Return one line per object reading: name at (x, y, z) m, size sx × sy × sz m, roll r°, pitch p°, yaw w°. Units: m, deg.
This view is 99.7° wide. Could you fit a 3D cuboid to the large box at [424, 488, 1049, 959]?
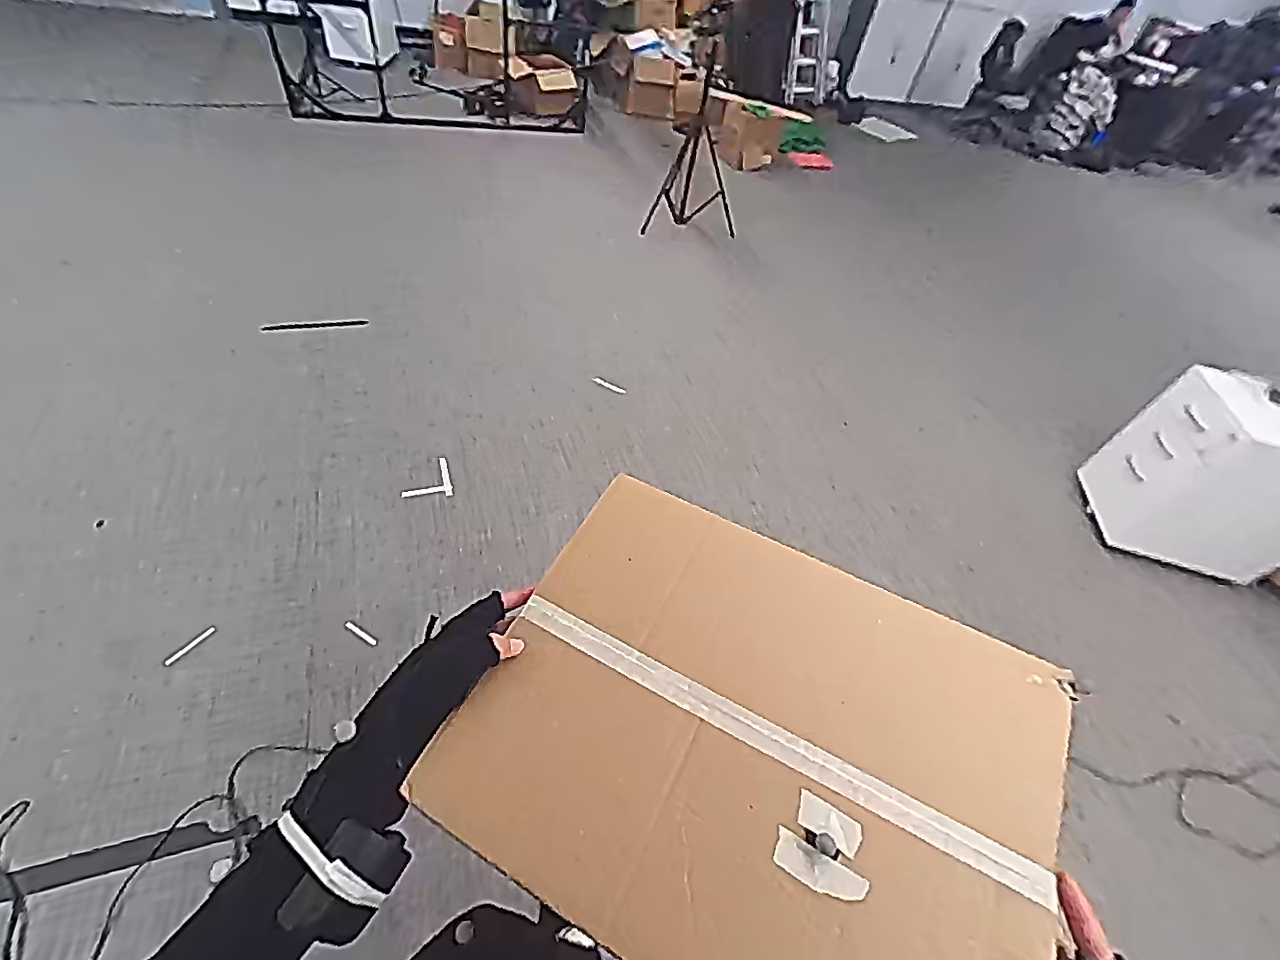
large box at (0.084, 0.275, 0.534) m, size 0.408 × 0.320 × 0.320 m, roll 24°, pitch 59°, yaw 16°
